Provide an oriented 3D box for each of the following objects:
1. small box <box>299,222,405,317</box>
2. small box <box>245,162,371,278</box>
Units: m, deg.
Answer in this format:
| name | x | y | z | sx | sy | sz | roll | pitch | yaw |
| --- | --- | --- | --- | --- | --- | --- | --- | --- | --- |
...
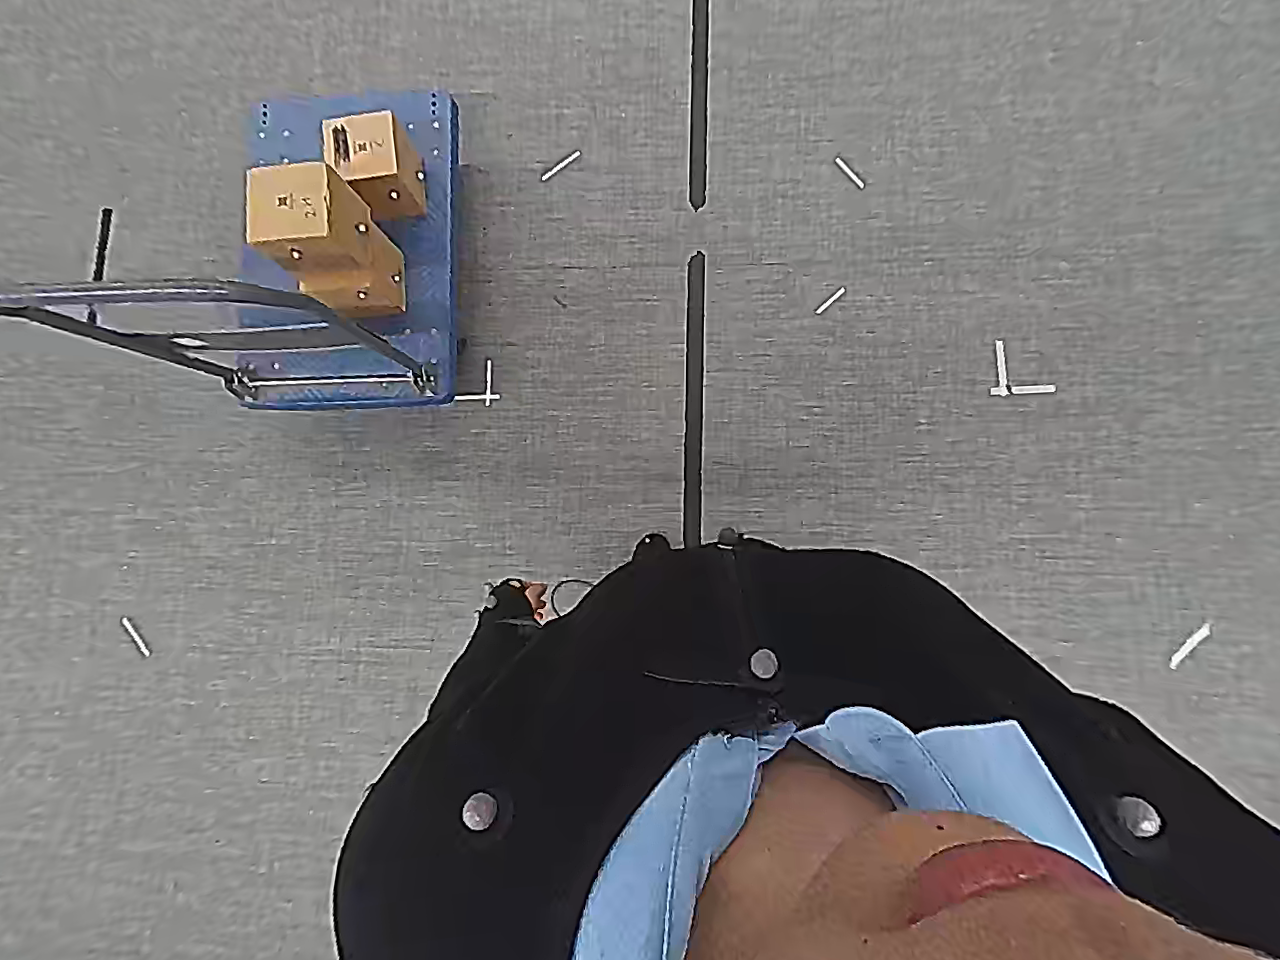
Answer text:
| name | x | y | z | sx | sy | sz | roll | pitch | yaw |
| --- | --- | --- | --- | --- | --- | --- | --- | --- | --- |
| small box | -0.712 | -0.518 | 1.347 | 0.179 | 0.176 | 0.168 | -5 | 84 | 2 |
| small box | -0.720 | -0.560 | 1.186 | 0.179 | 0.176 | 0.168 | -4 | 84 | 1 |
